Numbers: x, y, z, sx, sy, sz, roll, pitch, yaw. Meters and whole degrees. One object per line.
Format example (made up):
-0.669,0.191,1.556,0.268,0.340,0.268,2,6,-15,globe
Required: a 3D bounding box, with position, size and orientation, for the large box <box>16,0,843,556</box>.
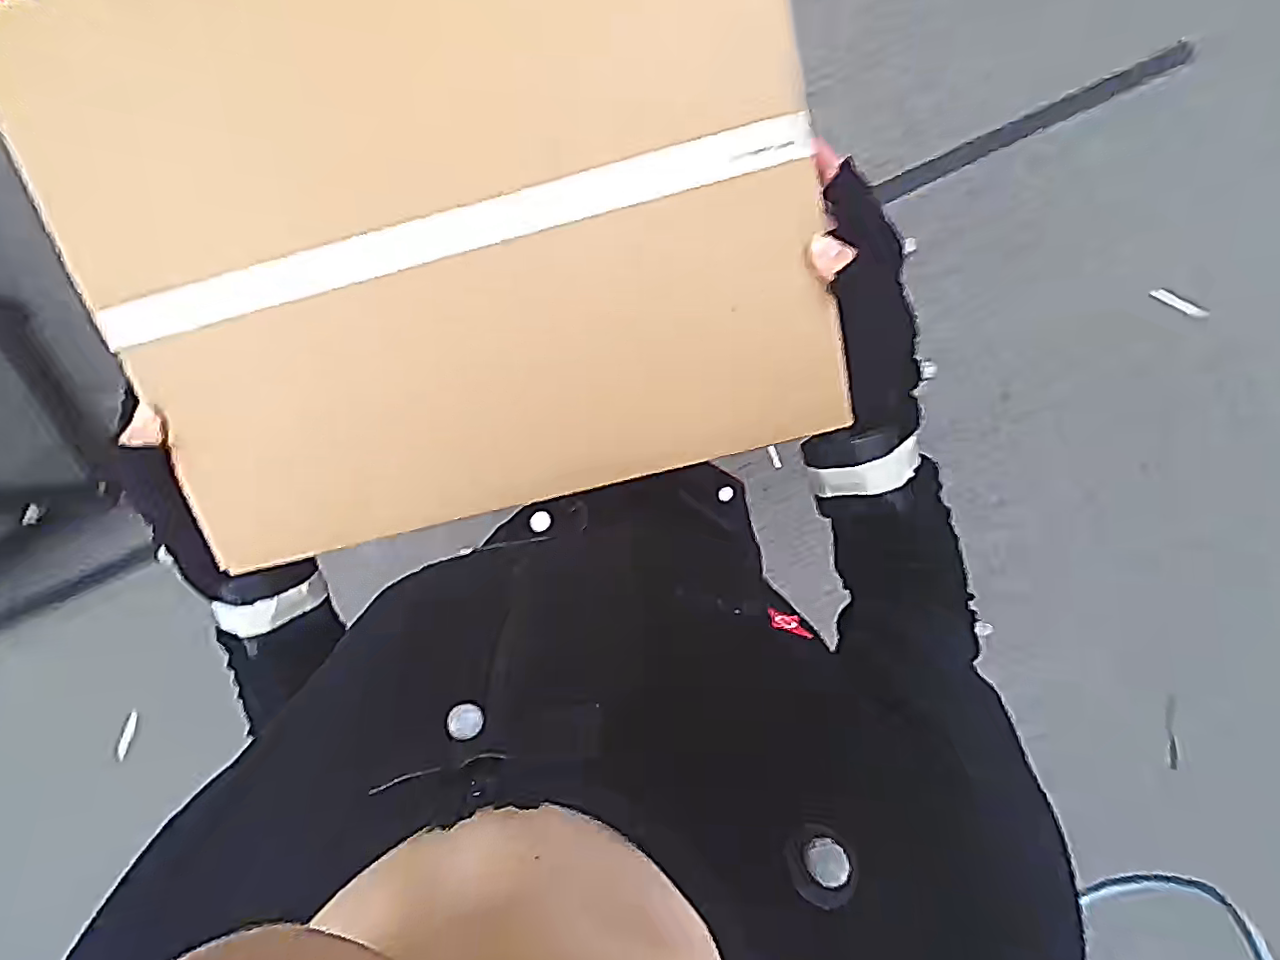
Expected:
-0.103,-0.174,0.450,0.408,0.320,0.320,-13,106,3,large box
